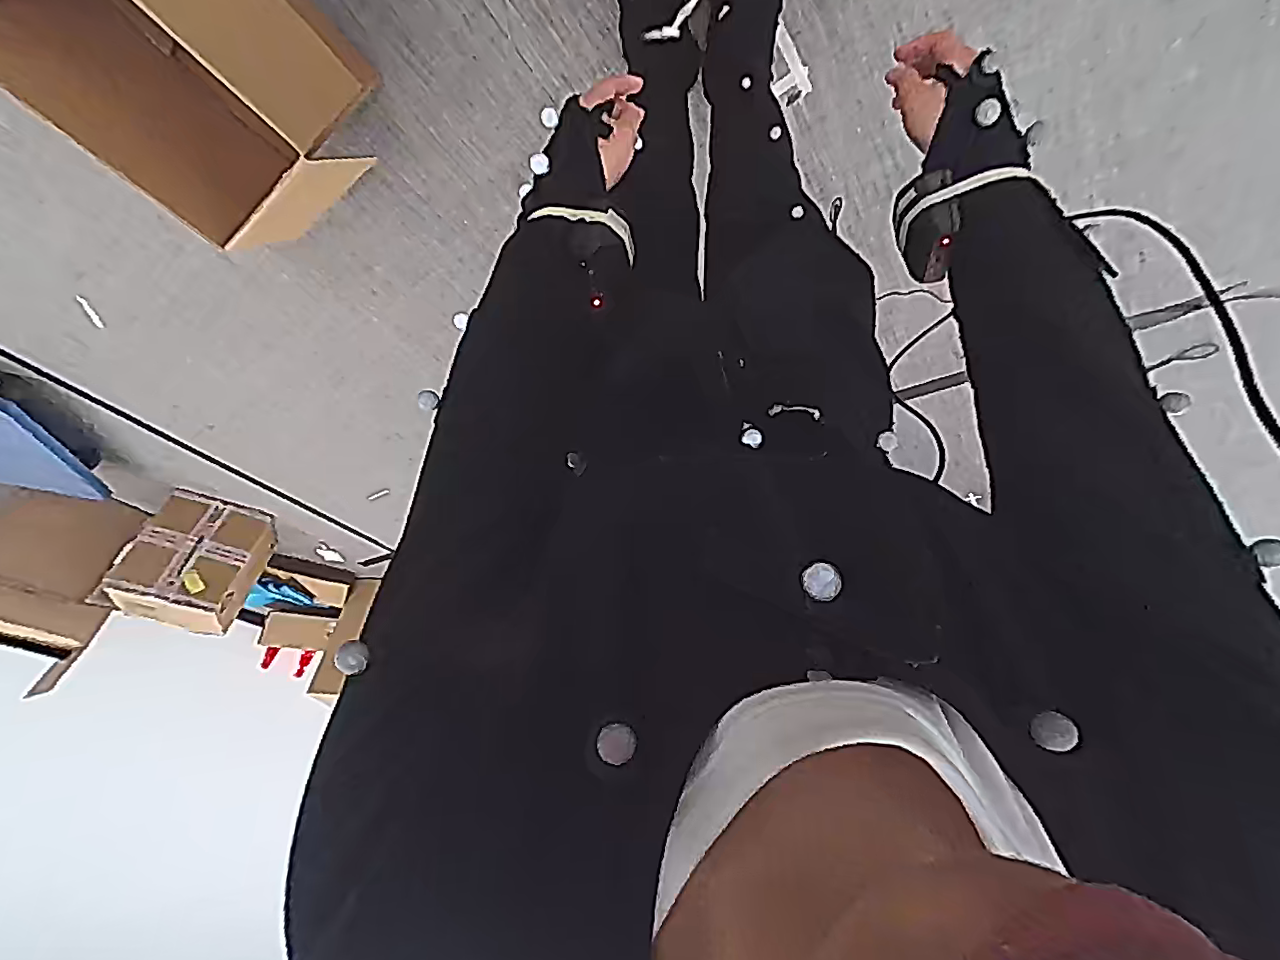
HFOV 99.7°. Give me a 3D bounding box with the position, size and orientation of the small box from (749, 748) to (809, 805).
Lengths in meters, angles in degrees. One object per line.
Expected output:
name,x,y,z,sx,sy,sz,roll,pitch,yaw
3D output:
small box,0.513,1.098,2.005,0.179,0.176,0.168,-14,141,28
